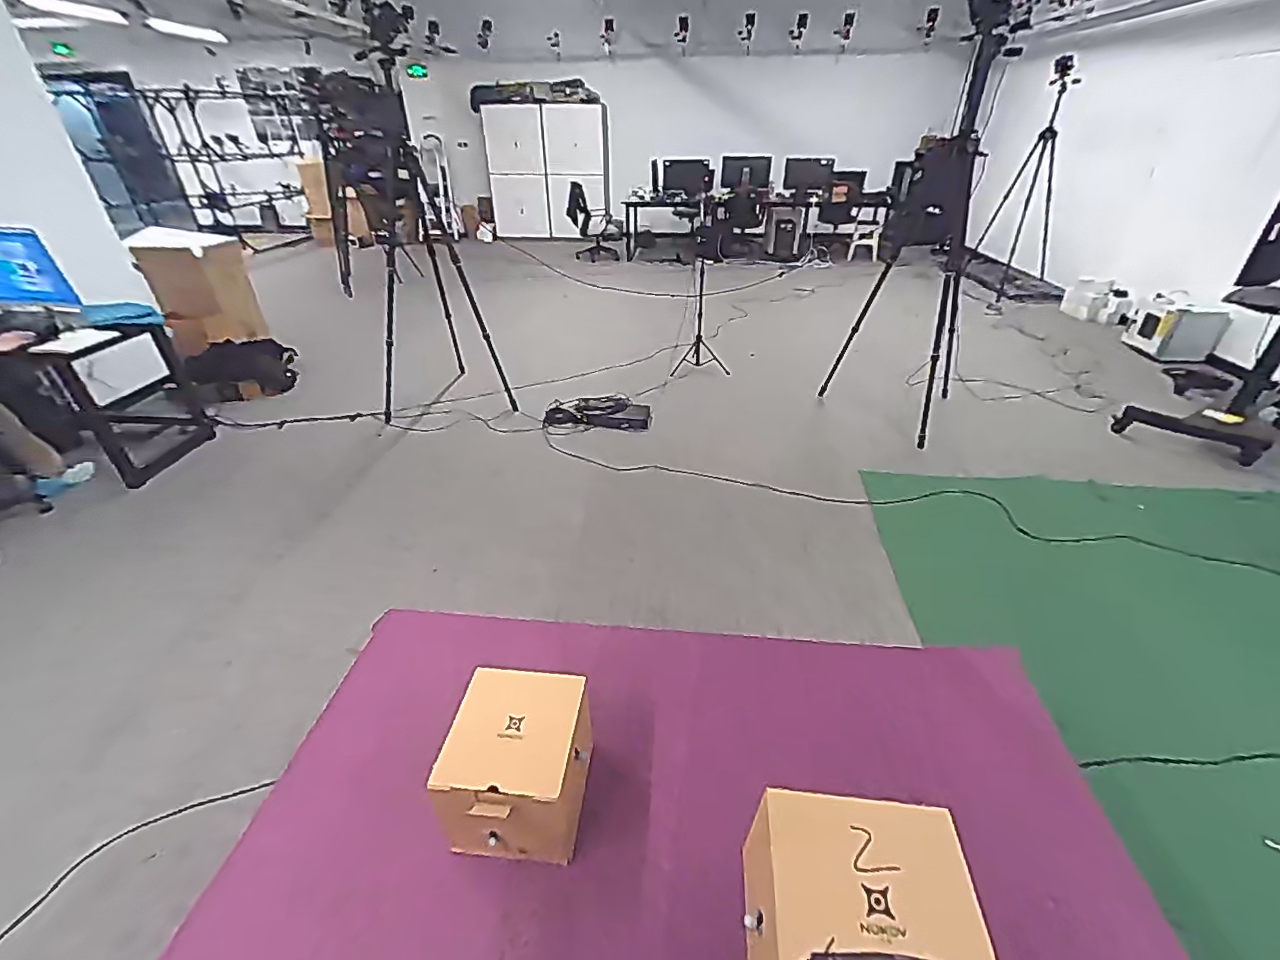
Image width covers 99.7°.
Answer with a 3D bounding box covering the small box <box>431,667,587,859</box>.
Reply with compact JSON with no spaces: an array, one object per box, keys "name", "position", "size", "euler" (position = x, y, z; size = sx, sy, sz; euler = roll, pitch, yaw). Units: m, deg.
[{"name":"small box","position":[-0.171,0.400,0.774],"size":[0.168,0.176,0.179],"euler":[3,34,5]}]
